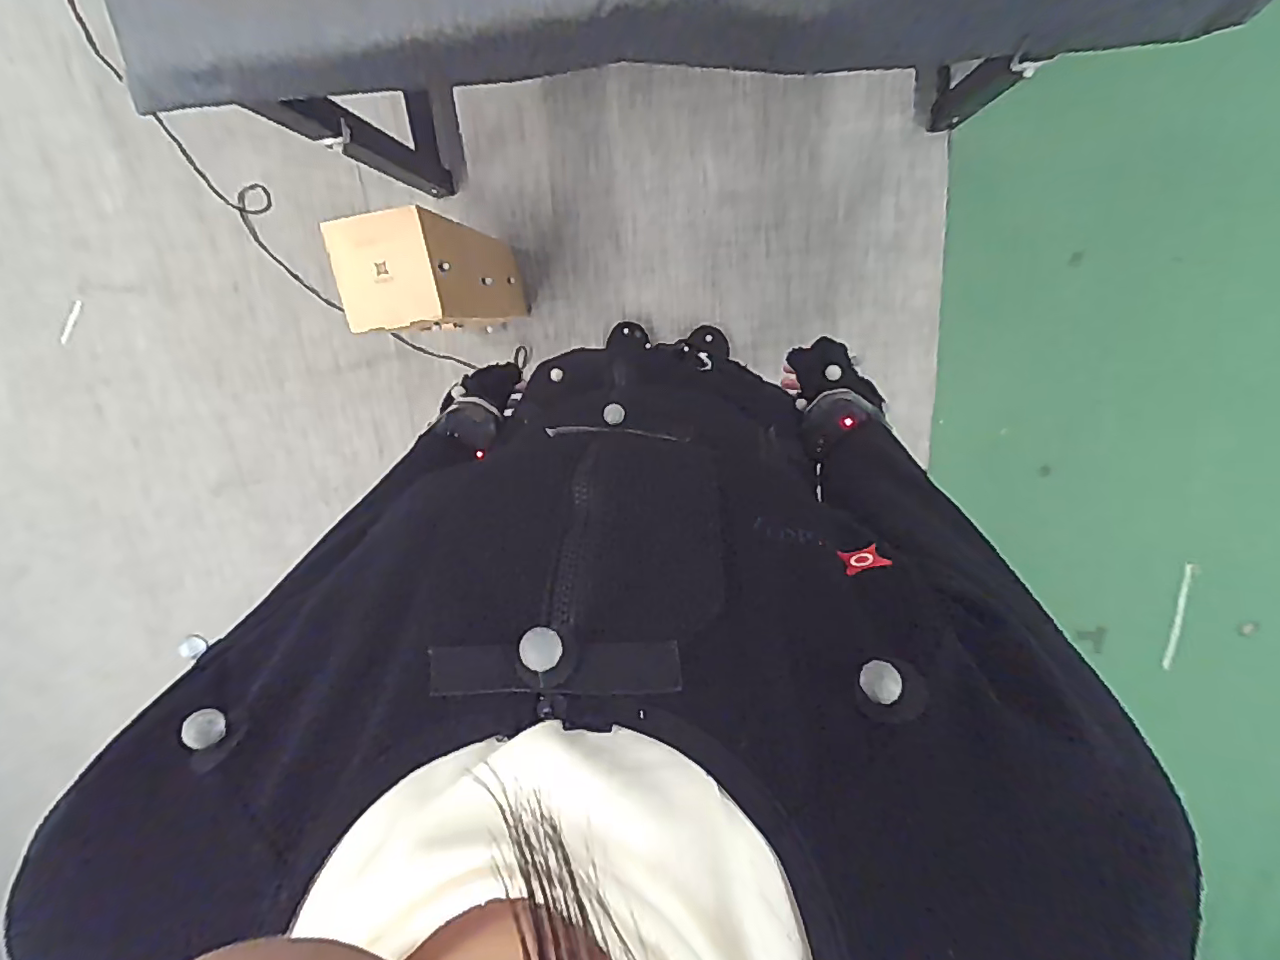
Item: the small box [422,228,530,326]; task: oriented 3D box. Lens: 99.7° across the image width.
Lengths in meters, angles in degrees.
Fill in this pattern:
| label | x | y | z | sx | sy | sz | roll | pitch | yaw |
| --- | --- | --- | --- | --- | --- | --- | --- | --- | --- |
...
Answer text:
| label | x | y | z | sx | sy | sz | roll | pitch | yaw |
| --- | --- | --- | --- | --- | --- | --- | --- | --- | --- |
| small box | -0.373 | -0.464 | 1.259 | 0.168 | 0.176 | 0.179 | -11 | 106 | 8 |
